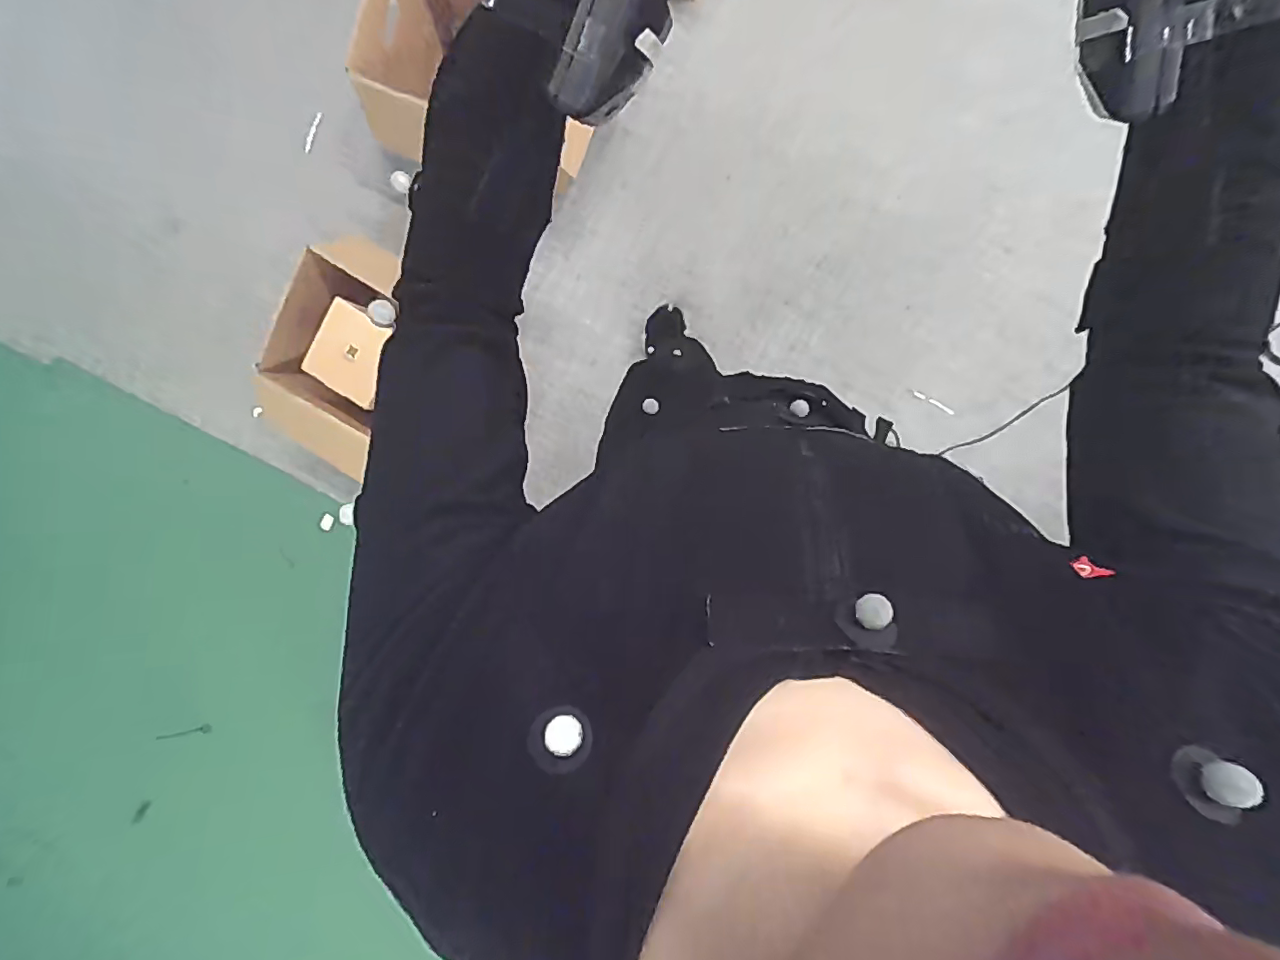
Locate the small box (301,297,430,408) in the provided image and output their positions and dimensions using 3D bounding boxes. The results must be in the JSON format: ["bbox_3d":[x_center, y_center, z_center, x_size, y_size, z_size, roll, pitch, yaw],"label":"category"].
[{"bbox_3d":[-0.600,-0.277,1.210,0.168,0.176,0.179,32,98,0],"label":"small box"}]
